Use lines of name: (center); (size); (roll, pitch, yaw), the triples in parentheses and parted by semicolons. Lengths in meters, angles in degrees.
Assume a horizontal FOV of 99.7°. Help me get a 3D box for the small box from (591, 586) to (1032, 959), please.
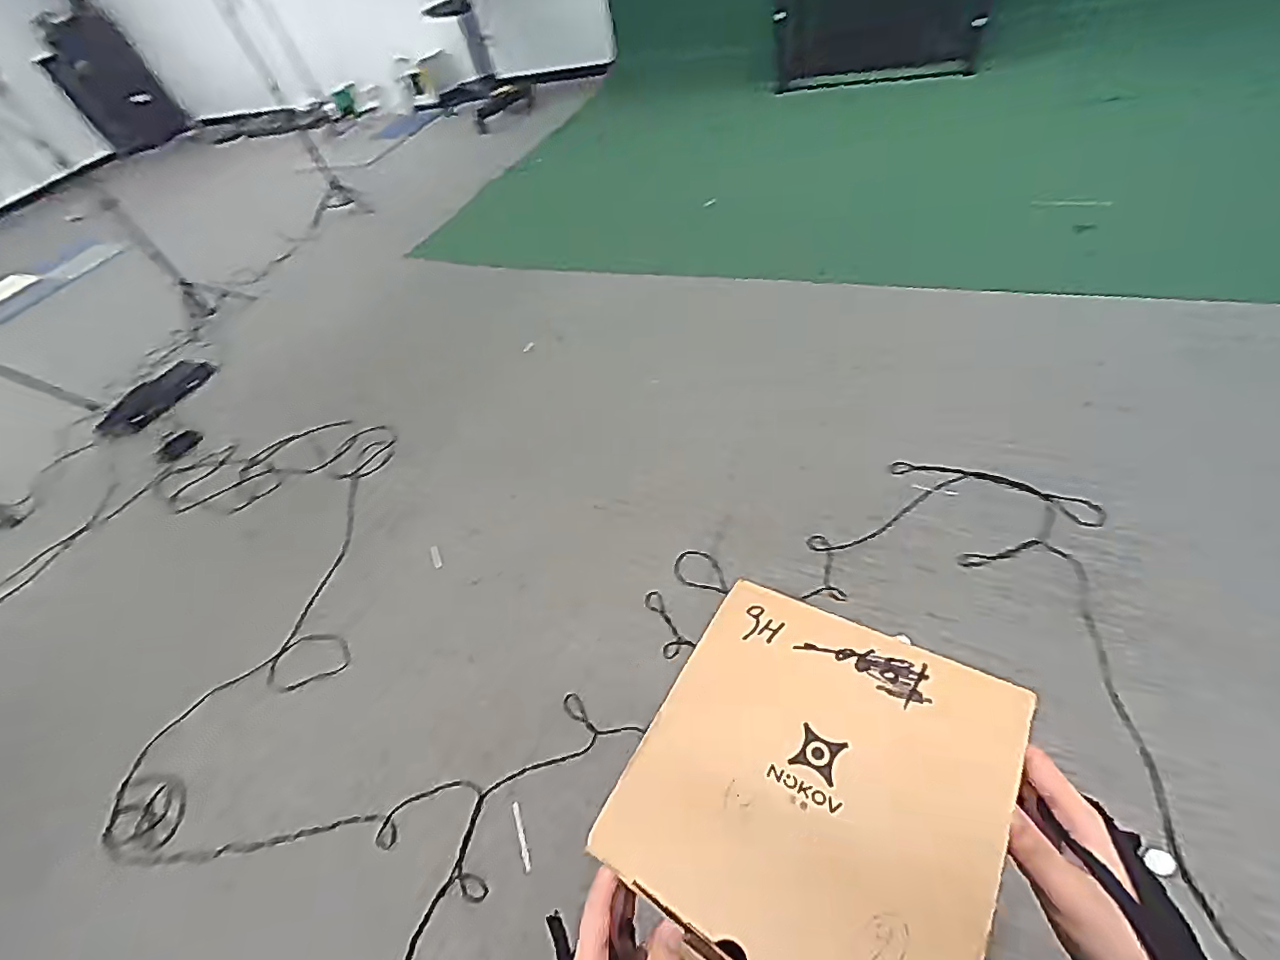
small box: (0.104, 0.204, 0.327); (0.168, 0.176, 0.179); (19, 55, 32)
